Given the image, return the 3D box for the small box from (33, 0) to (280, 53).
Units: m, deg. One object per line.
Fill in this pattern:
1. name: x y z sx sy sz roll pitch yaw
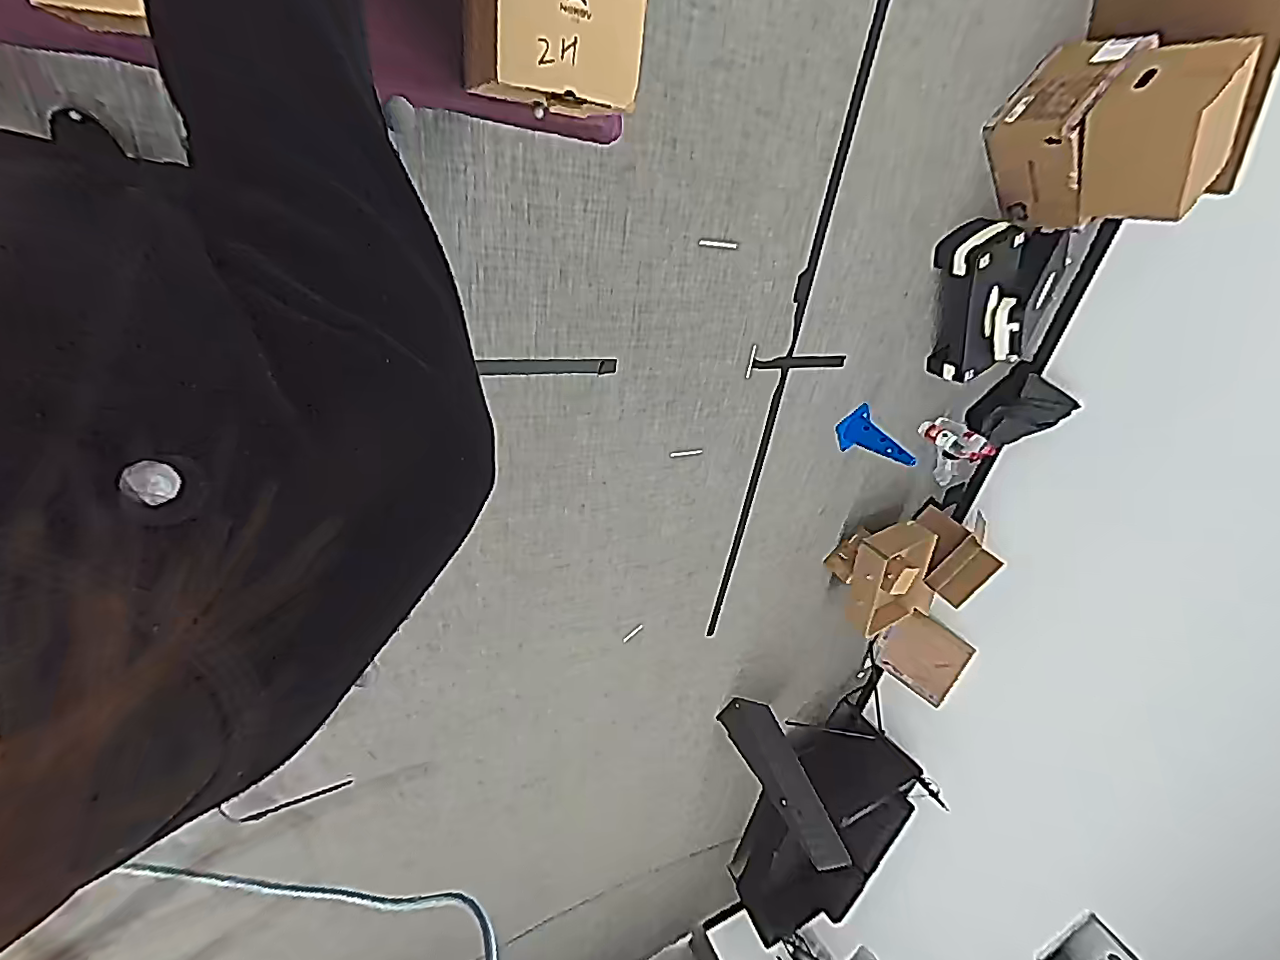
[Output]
1. small box: -0.423 -0.488 0.458 0.168 0.176 0.179 -12 126 -25

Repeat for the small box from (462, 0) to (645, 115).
1. small box: -0.106 -0.539 0.621 0.168 0.176 0.179 -7 123 -27
